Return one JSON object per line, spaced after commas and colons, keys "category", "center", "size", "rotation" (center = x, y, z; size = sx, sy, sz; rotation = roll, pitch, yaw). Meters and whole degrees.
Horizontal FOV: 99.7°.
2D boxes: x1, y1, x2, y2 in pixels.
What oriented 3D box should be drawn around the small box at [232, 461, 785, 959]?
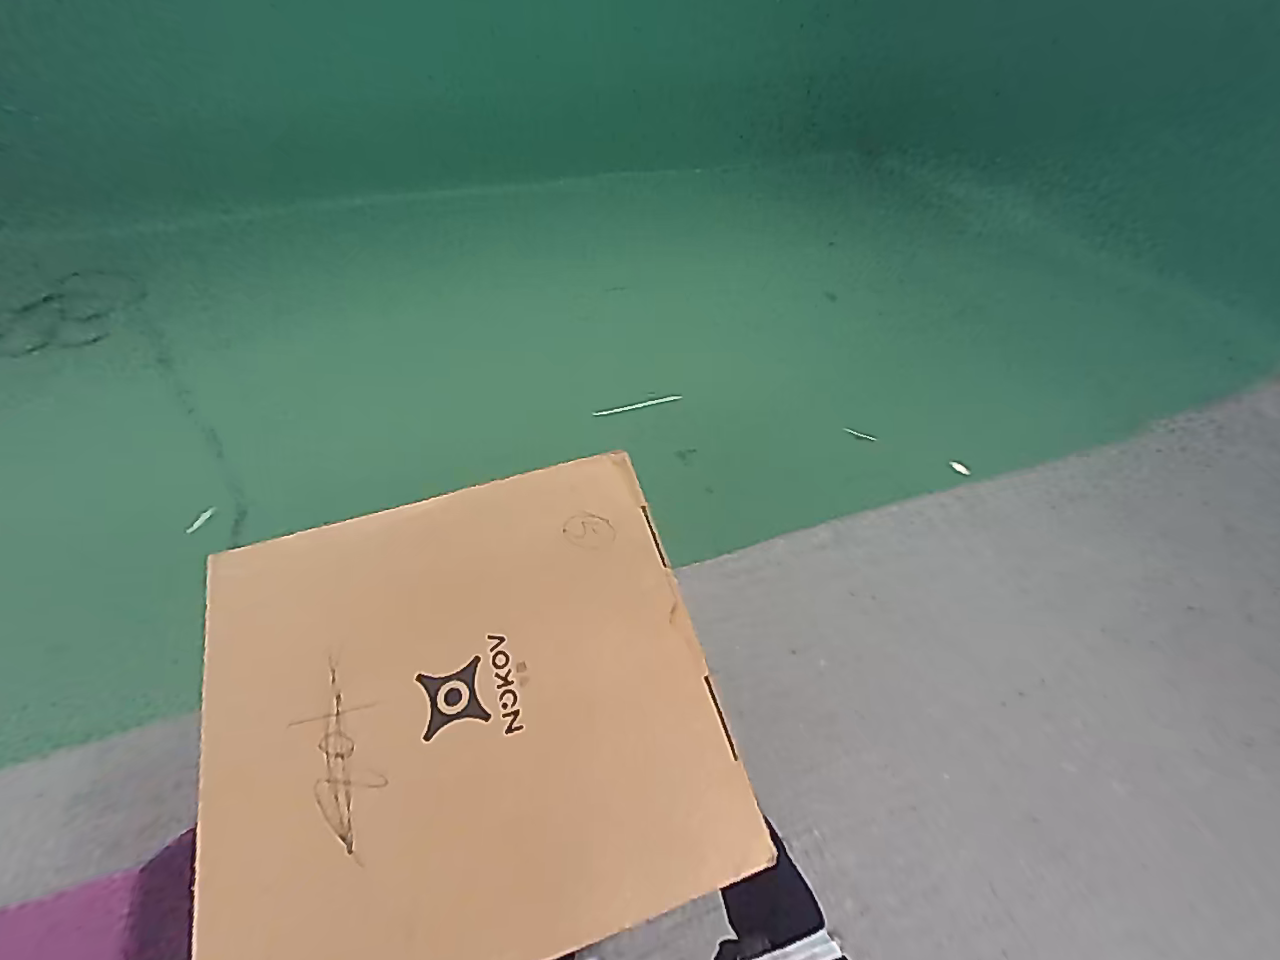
{"category": "small box", "center": [-0.057, 0.117, 0.271], "size": [0.179, 0.176, 0.168], "rotation": [-14, 62, -9]}
